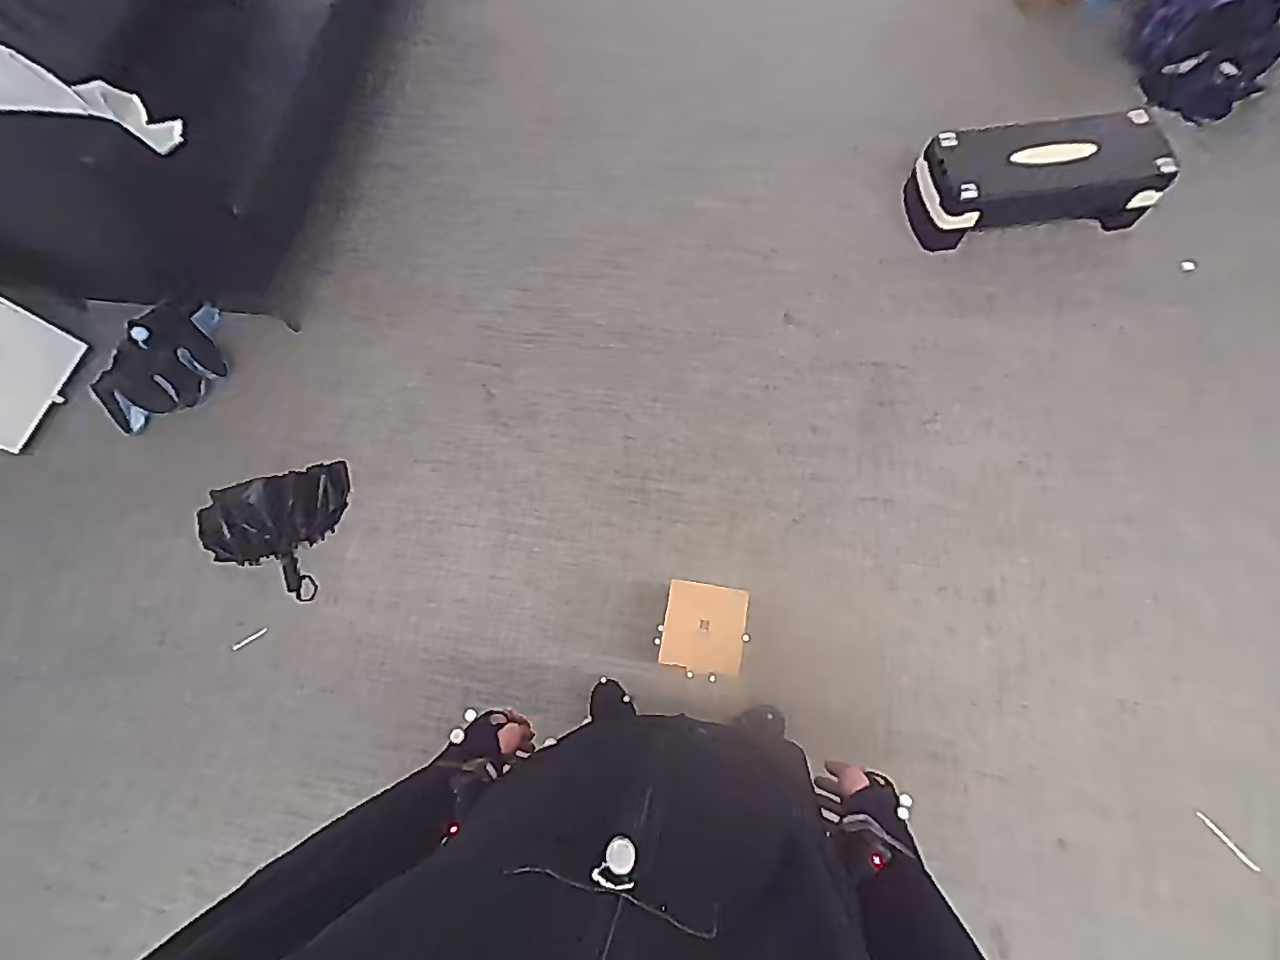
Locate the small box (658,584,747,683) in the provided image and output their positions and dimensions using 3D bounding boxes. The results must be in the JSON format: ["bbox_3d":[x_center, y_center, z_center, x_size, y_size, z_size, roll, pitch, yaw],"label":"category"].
[{"bbox_3d":[0.135,0.340,1.187,0.168,0.176,0.179,8,70,6],"label":"small box"}]
